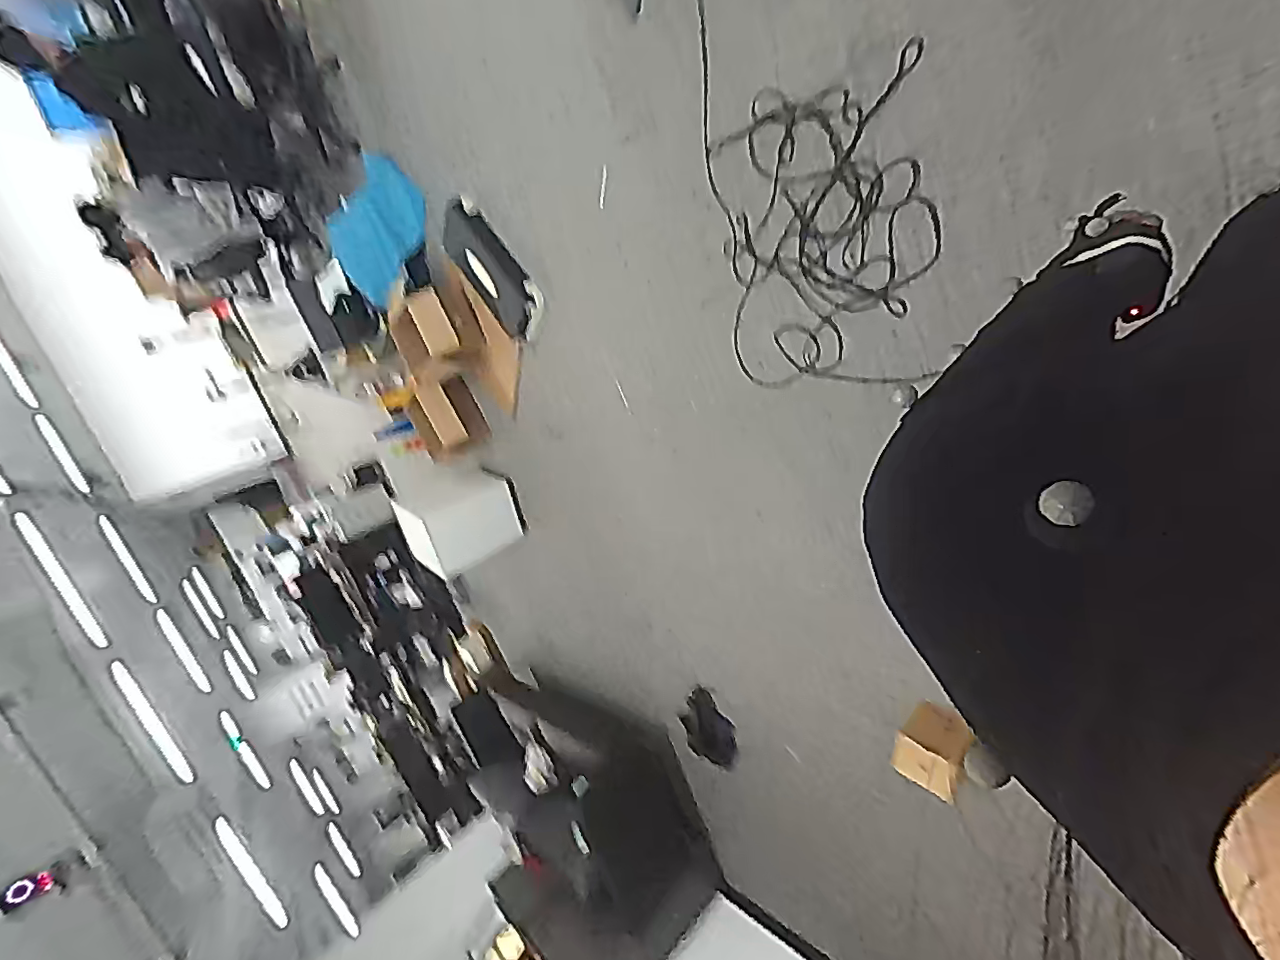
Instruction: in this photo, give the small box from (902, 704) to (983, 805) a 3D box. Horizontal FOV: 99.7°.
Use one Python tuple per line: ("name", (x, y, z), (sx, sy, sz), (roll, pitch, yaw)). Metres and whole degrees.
("small box", (0.929, 0.836, 1.661), (0.168, 0.176, 0.179), (20, 128, 45))
